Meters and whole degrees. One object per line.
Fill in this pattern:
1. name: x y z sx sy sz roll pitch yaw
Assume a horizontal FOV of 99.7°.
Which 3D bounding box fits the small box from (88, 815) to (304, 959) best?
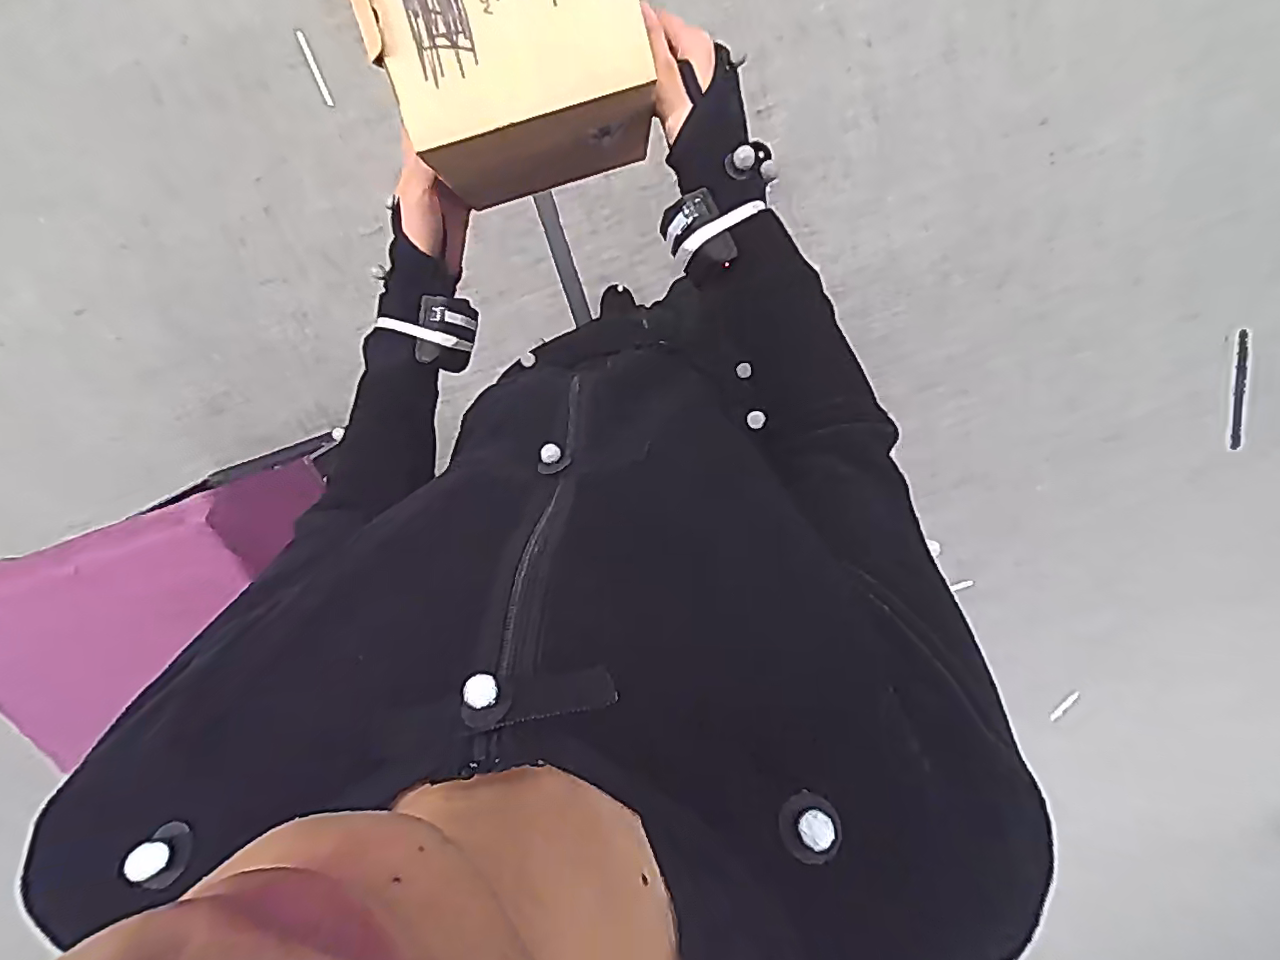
1. small box: -0.705 0.691 0.884 0.179 0.176 0.168 -15 112 5
